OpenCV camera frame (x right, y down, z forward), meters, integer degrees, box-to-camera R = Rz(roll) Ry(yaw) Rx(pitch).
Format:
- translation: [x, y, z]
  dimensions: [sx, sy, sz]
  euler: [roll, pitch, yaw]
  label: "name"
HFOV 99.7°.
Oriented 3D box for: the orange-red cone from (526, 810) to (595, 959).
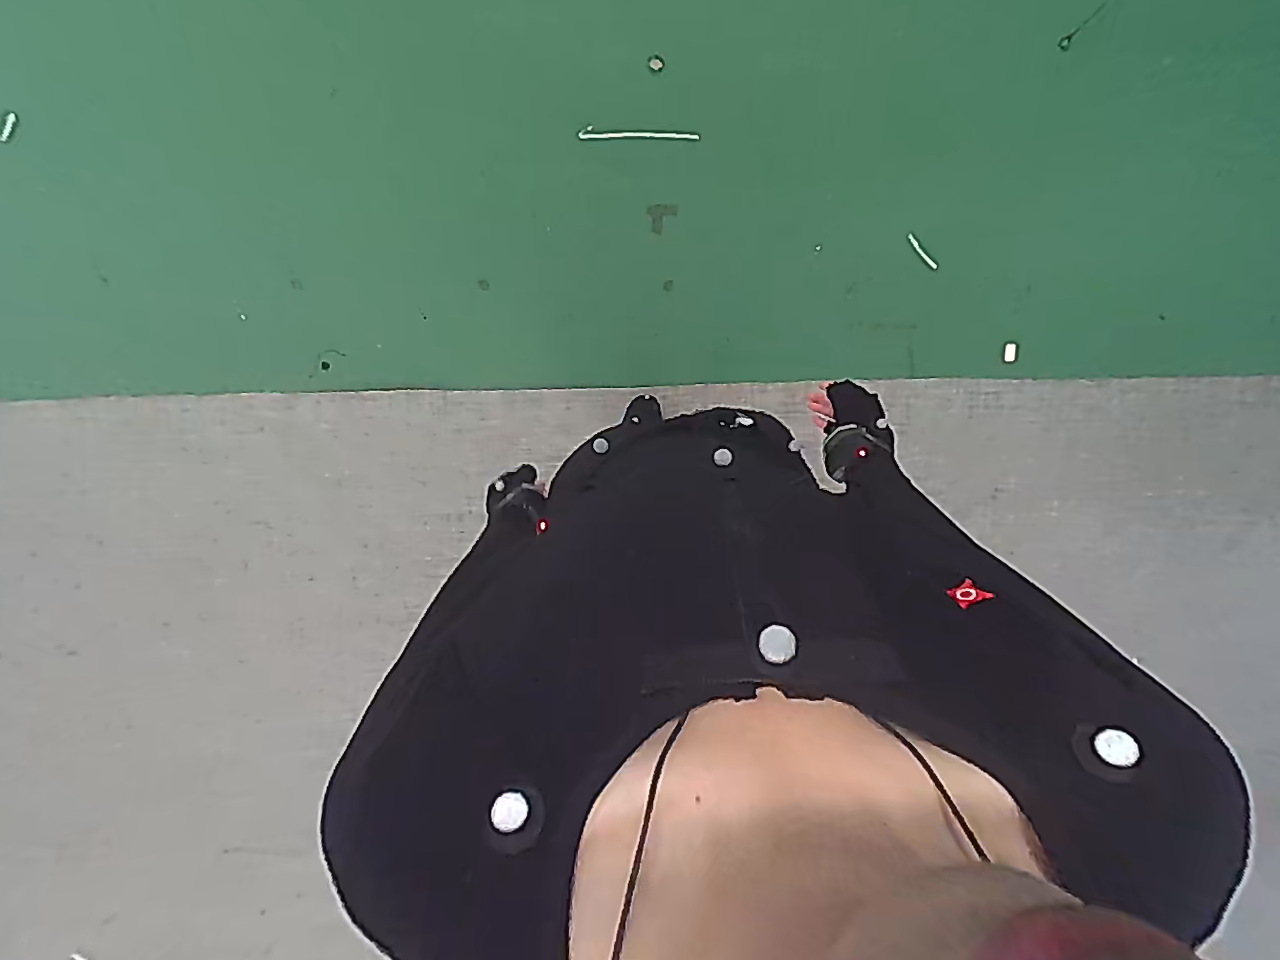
- translation: [-0.228, 1.079, 1.421]
  dimensions: [0.198, 0.360, 0.199]
  euler: [3, 94, -3]
  label: "orange-red cone"
